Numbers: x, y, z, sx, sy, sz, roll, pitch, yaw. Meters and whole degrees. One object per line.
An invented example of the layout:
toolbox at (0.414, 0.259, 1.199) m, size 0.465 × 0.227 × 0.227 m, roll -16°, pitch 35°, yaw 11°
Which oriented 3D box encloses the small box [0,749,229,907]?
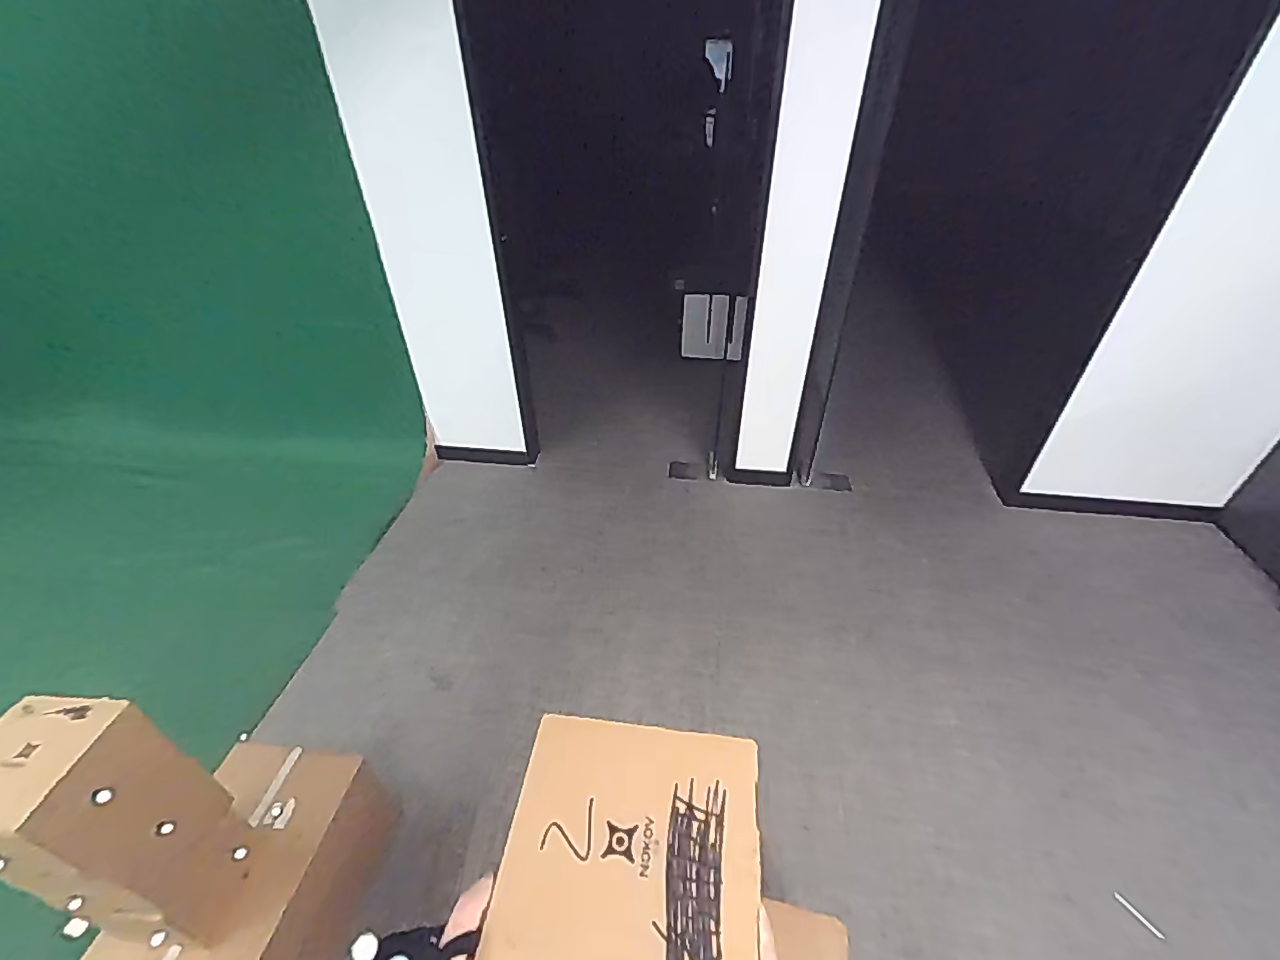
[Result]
small box at (-0.820, 0.558, 0.872) m, size 0.168 × 0.176 × 0.179 m, roll 2°, pitch 36°, yaw 1°

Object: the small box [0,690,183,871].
small box at (-0.819, 0.428, 0.771) m, size 0.168 × 0.176 × 0.179 m, roll 3°, pitch 38°, yaw 3°

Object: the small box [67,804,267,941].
small box at (-0.821, 0.692, 0.966) m, size 0.179 × 0.176 × 0.168 m, roll 3°, pitch 37°, yaw 5°

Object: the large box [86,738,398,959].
large box at (-0.795, 0.844, 1.167) m, size 0.320 × 0.320 × 0.408 m, roll 4°, pitch 37°, yaw 6°

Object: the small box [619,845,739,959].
small box at (0.066, 0.750, 0.889) m, size 0.168 × 0.176 × 0.179 m, roll 9°, pitch 36°, yaw 11°
